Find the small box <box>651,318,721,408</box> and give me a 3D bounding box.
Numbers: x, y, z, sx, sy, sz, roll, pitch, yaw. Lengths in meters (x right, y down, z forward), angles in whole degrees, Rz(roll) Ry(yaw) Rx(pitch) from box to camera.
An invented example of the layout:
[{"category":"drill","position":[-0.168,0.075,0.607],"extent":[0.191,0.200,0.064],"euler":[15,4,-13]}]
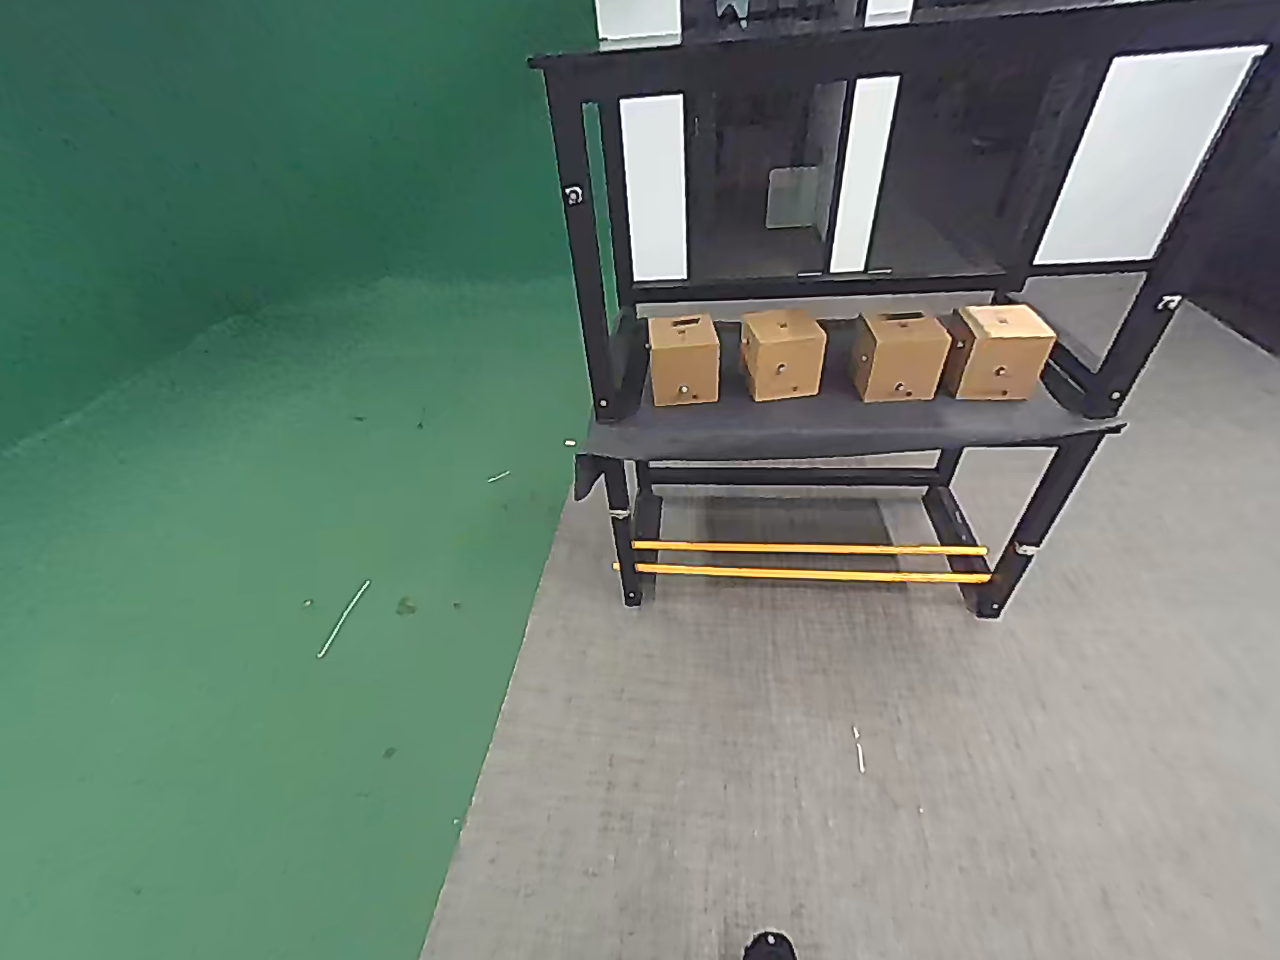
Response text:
[{"category":"small box","position":[0.116,-0.306,1.418],"extent":[0.168,0.176,0.179],"euler":[-5,40,1]}]
